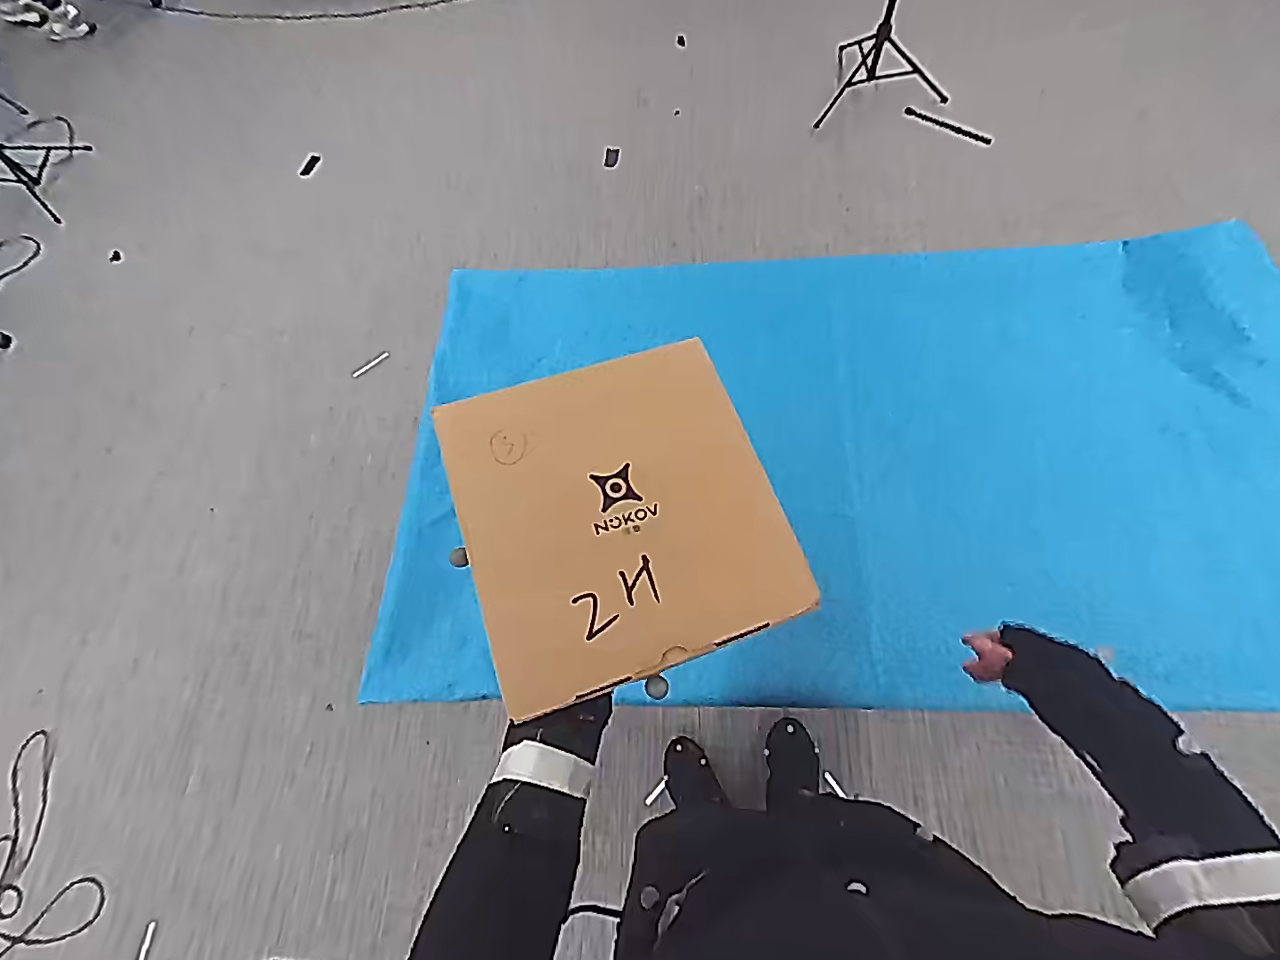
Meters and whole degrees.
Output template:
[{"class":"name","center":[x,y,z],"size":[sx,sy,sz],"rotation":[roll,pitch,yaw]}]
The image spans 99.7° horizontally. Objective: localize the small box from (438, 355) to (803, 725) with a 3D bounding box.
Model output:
[{"class":"small box","center":[-0.021,0.046,0.367],"size":[0.168,0.176,0.179],"rotation":[-14,73,-8]}]
